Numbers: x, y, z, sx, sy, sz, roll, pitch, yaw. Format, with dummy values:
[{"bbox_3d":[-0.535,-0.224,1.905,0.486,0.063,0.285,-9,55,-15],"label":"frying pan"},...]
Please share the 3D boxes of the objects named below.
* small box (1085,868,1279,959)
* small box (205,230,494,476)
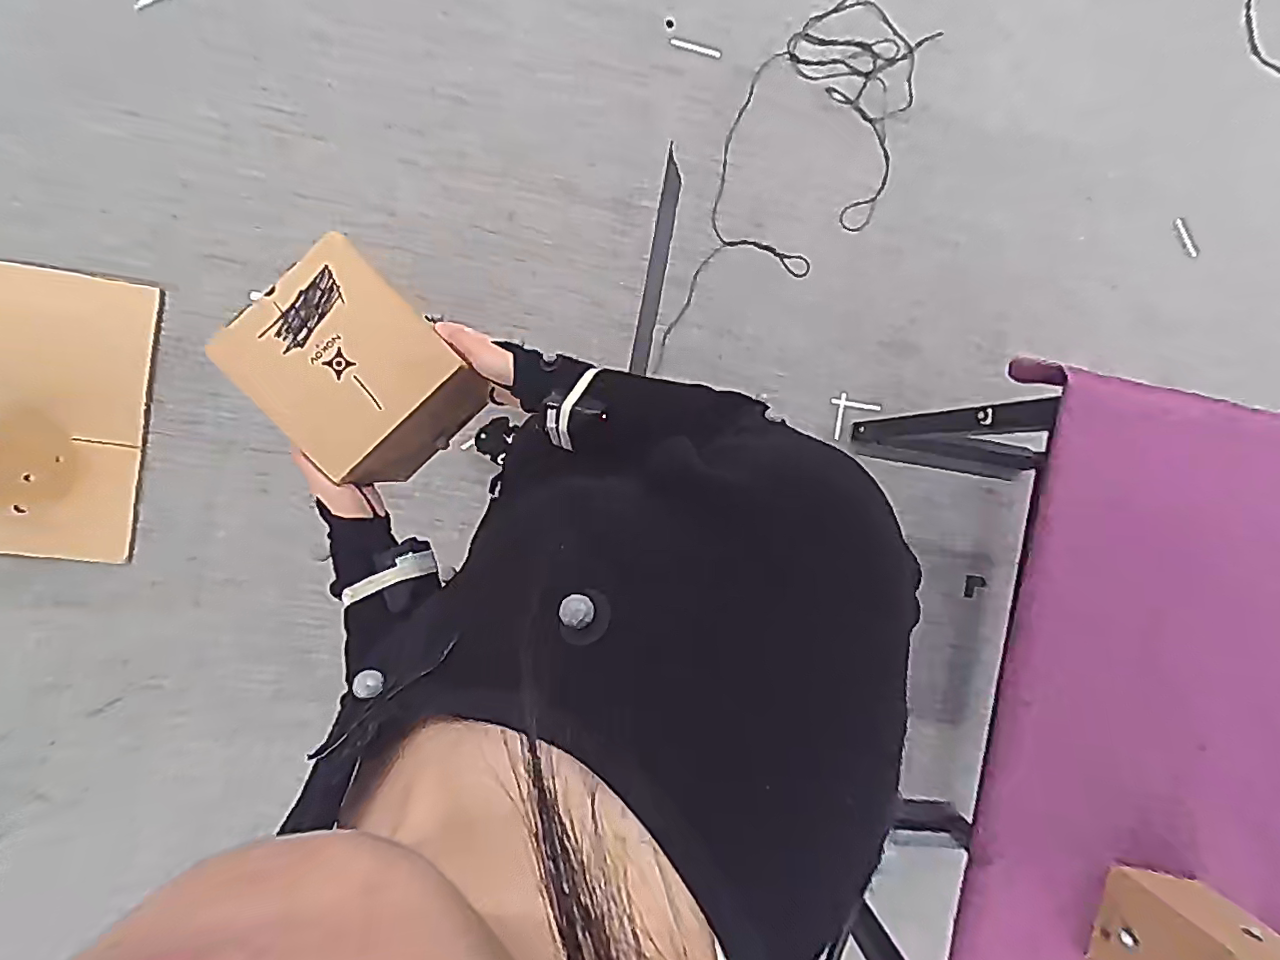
[{"bbox_3d":[0.835,0.728,0.811,0.179,0.176,0.168,16,89,-7],"label":"small box"},{"bbox_3d":[-0.287,-0.117,0.579,0.168,0.176,0.179,-44,92,-1],"label":"small box"}]
